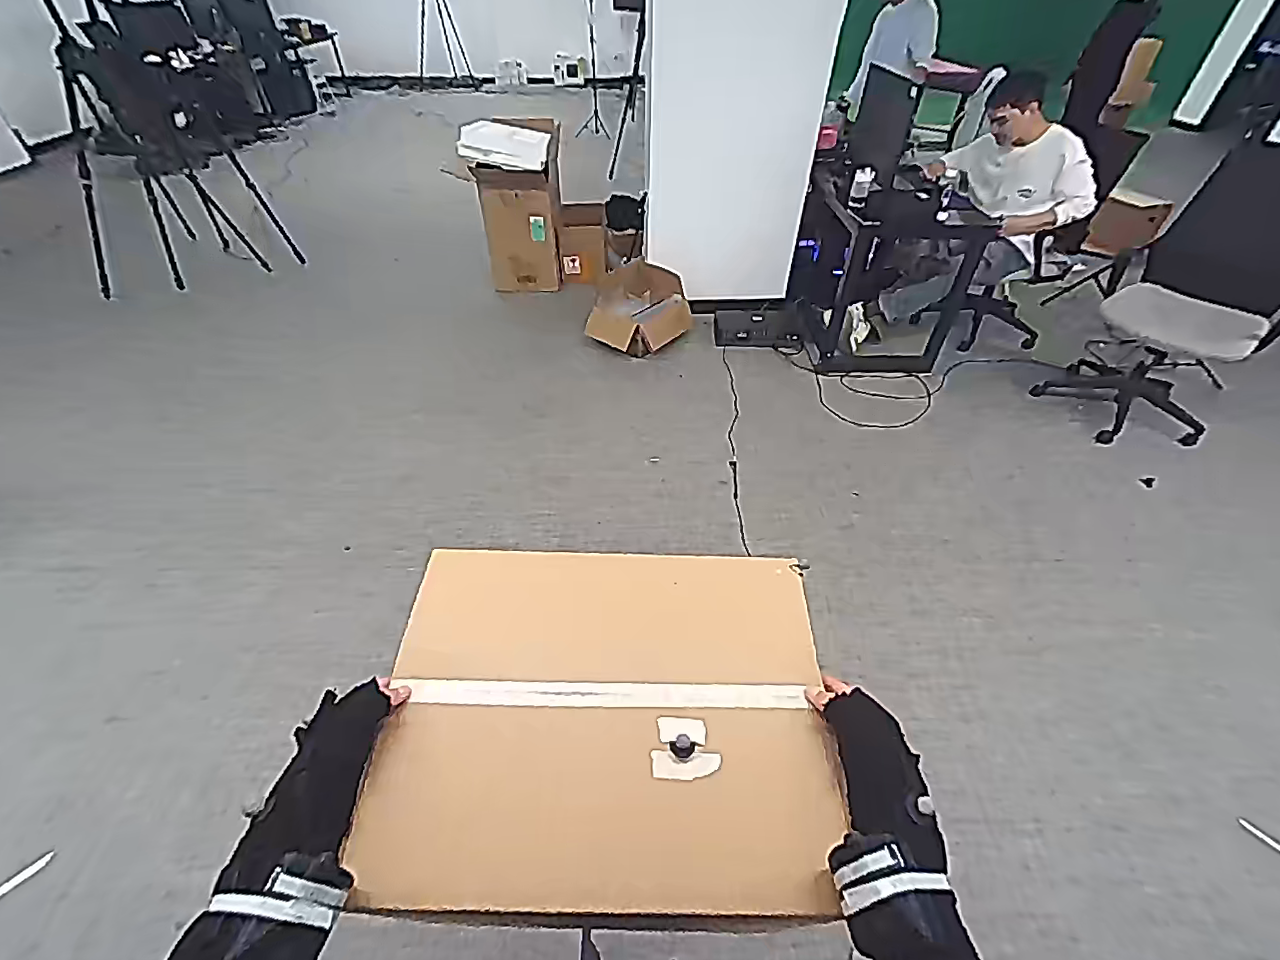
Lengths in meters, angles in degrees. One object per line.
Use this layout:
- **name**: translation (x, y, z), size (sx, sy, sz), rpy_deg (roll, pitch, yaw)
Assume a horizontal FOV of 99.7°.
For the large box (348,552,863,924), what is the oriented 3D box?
- **large box**: translation (-0.030, 0.299, 0.618), size (0.408, 0.320, 0.320), rpy_deg (2, 49, -1)
